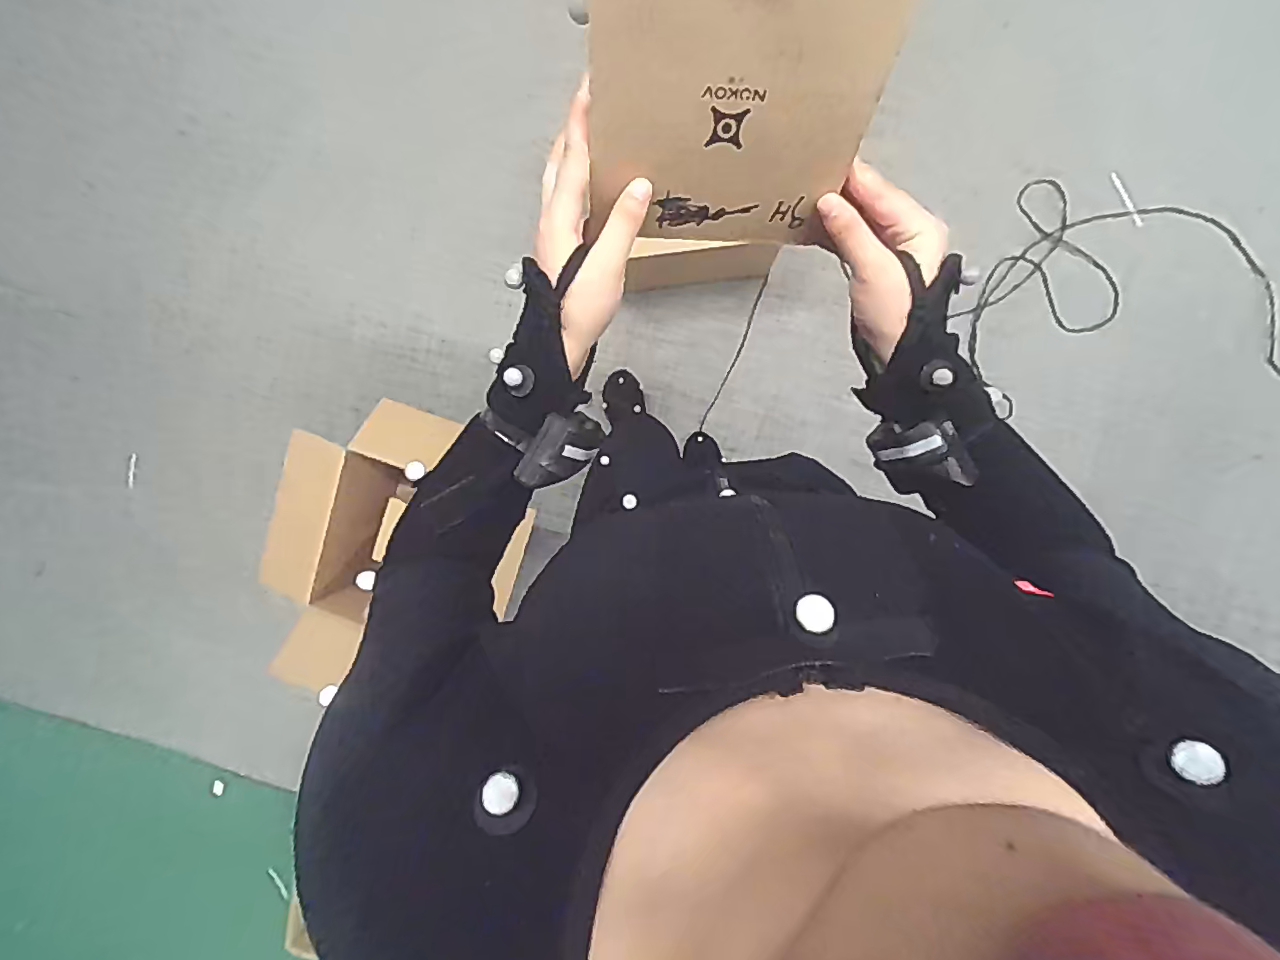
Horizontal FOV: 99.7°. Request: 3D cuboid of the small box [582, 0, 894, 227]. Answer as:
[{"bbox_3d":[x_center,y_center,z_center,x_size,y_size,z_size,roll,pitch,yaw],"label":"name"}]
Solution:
[{"bbox_3d":[0.045,-0.300,0.359,0.168,0.179,0.176,0,63,-4],"label":"small box"}]
